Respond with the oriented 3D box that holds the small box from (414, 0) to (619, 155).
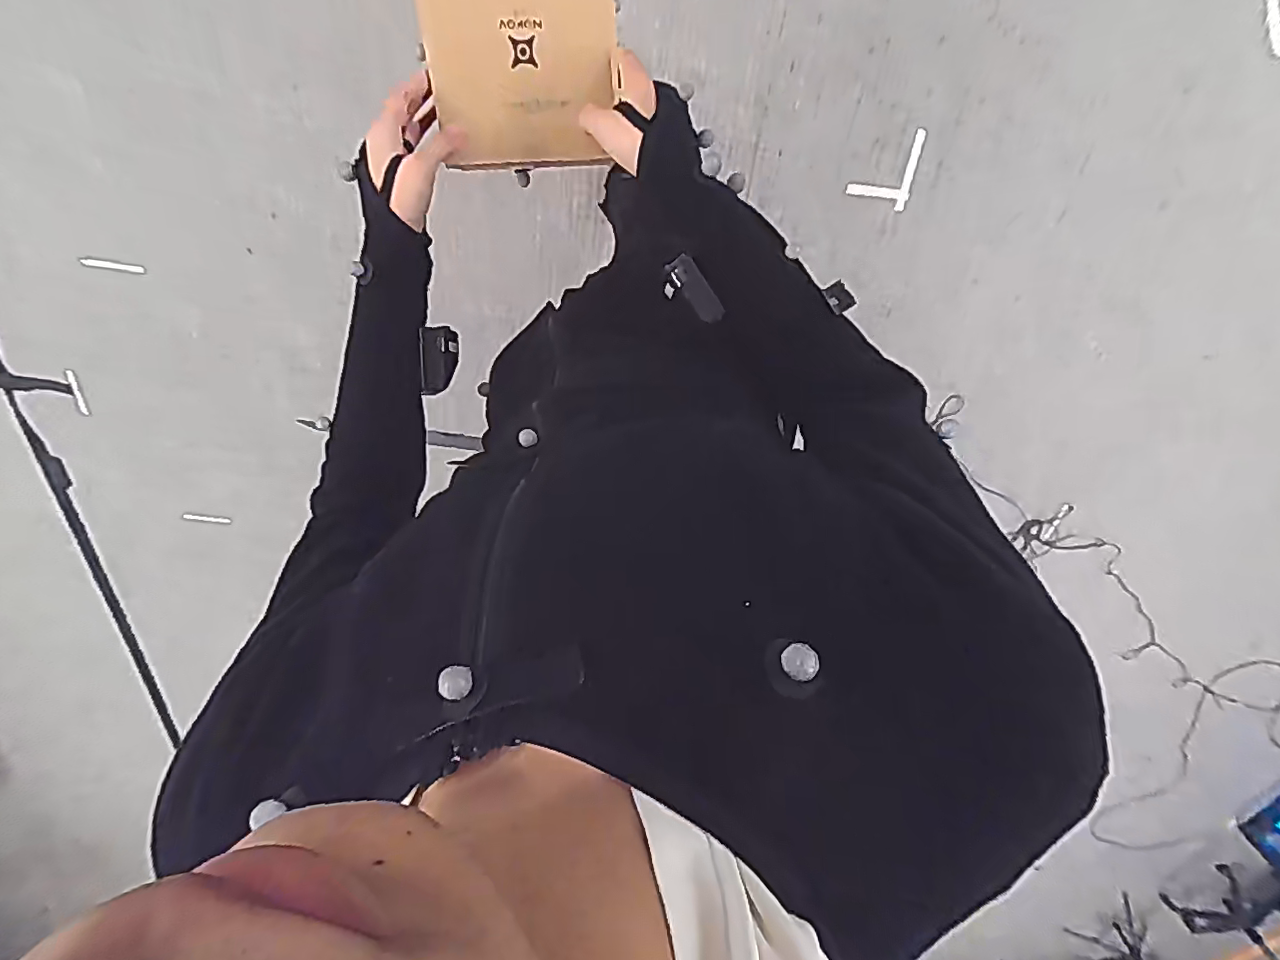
[{"bbox_3d":[-0.116,-0.423,0.518,0.168,0.176,0.179,-7,118,-7],"label":"small box"}]
